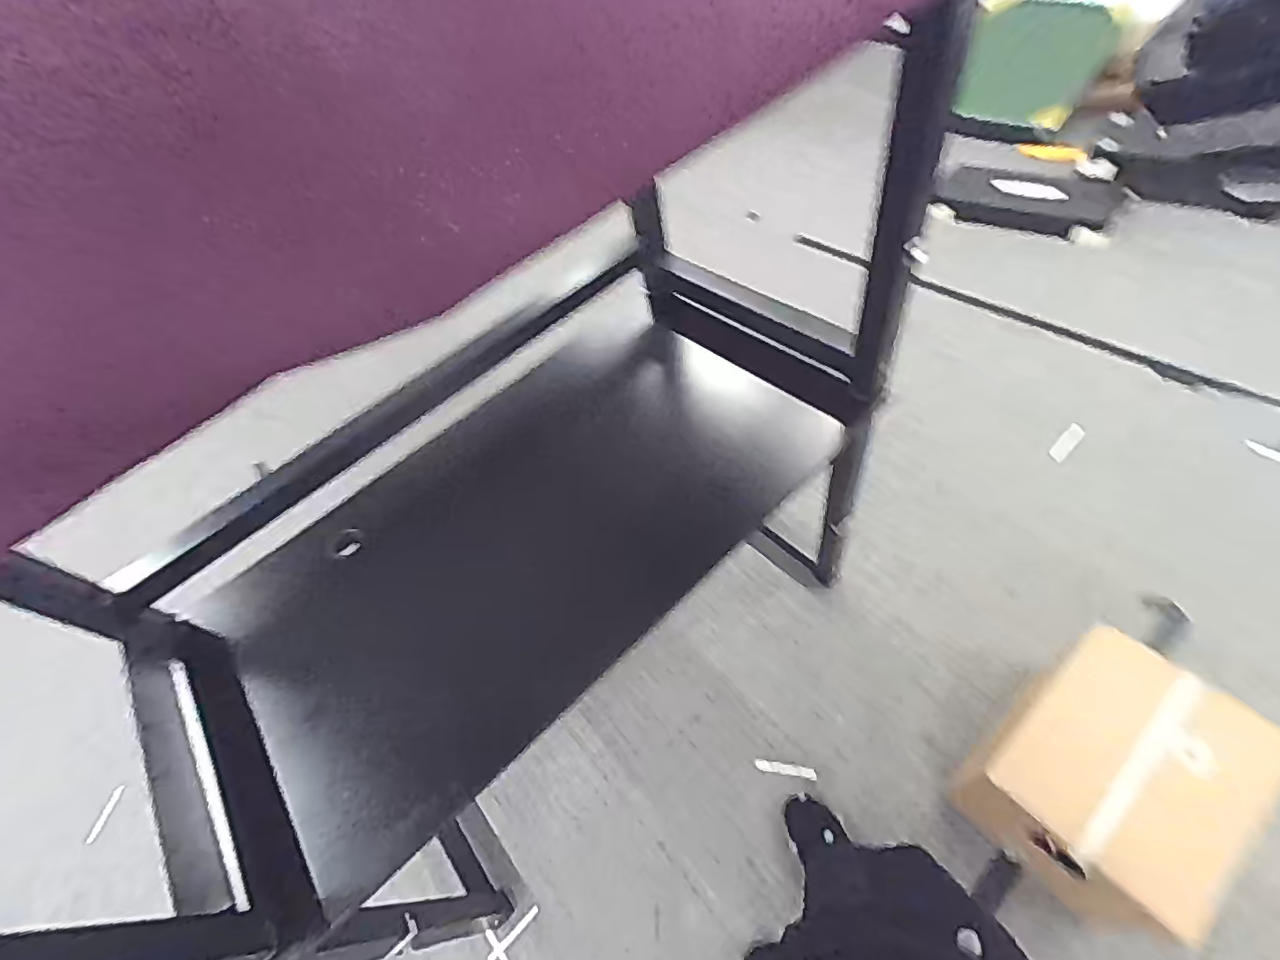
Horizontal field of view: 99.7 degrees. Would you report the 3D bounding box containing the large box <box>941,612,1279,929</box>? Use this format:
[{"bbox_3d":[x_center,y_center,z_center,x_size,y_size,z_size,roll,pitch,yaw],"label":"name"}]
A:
[{"bbox_3d":[0.869,0.548,1.049,0.408,0.320,0.320,-41,58,-17],"label":"large box"}]
